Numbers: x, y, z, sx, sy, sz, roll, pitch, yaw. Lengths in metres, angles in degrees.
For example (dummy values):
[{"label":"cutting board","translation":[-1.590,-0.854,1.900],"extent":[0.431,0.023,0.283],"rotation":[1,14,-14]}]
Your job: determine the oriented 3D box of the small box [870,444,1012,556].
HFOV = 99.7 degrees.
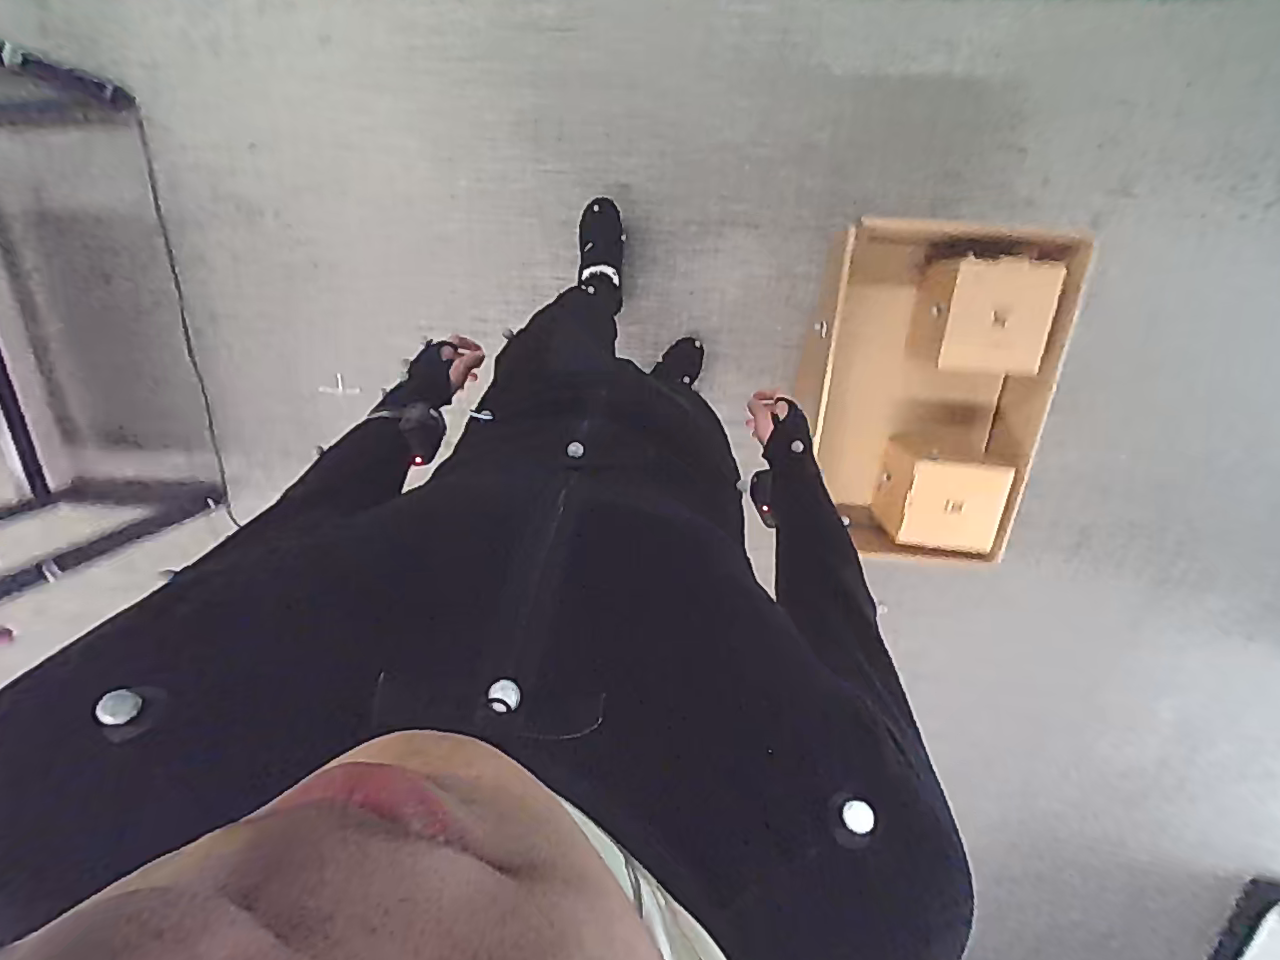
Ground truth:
[{"label":"small box","translation":[0.588,0.033,1.082],"extent":[0.179,0.176,0.168],"rotation":[7,109,4]}]
